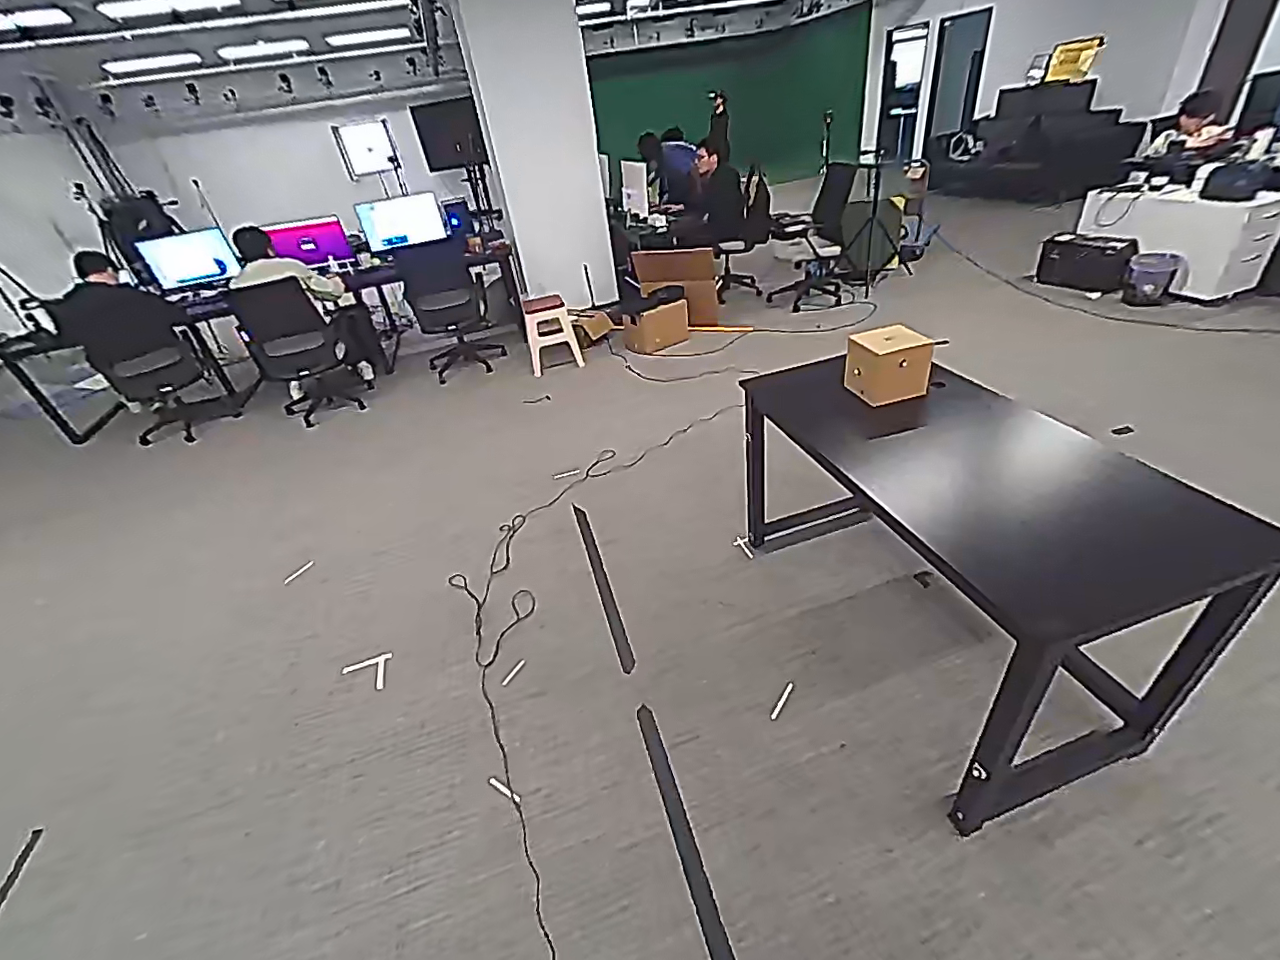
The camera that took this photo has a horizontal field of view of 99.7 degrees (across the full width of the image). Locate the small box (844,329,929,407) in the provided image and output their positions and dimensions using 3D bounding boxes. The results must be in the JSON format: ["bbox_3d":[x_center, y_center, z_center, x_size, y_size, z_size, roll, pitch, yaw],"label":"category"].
[{"bbox_3d":[0.738,-0.336,1.636,0.179,0.176,0.168,-14,34,-7],"label":"small box"}]
